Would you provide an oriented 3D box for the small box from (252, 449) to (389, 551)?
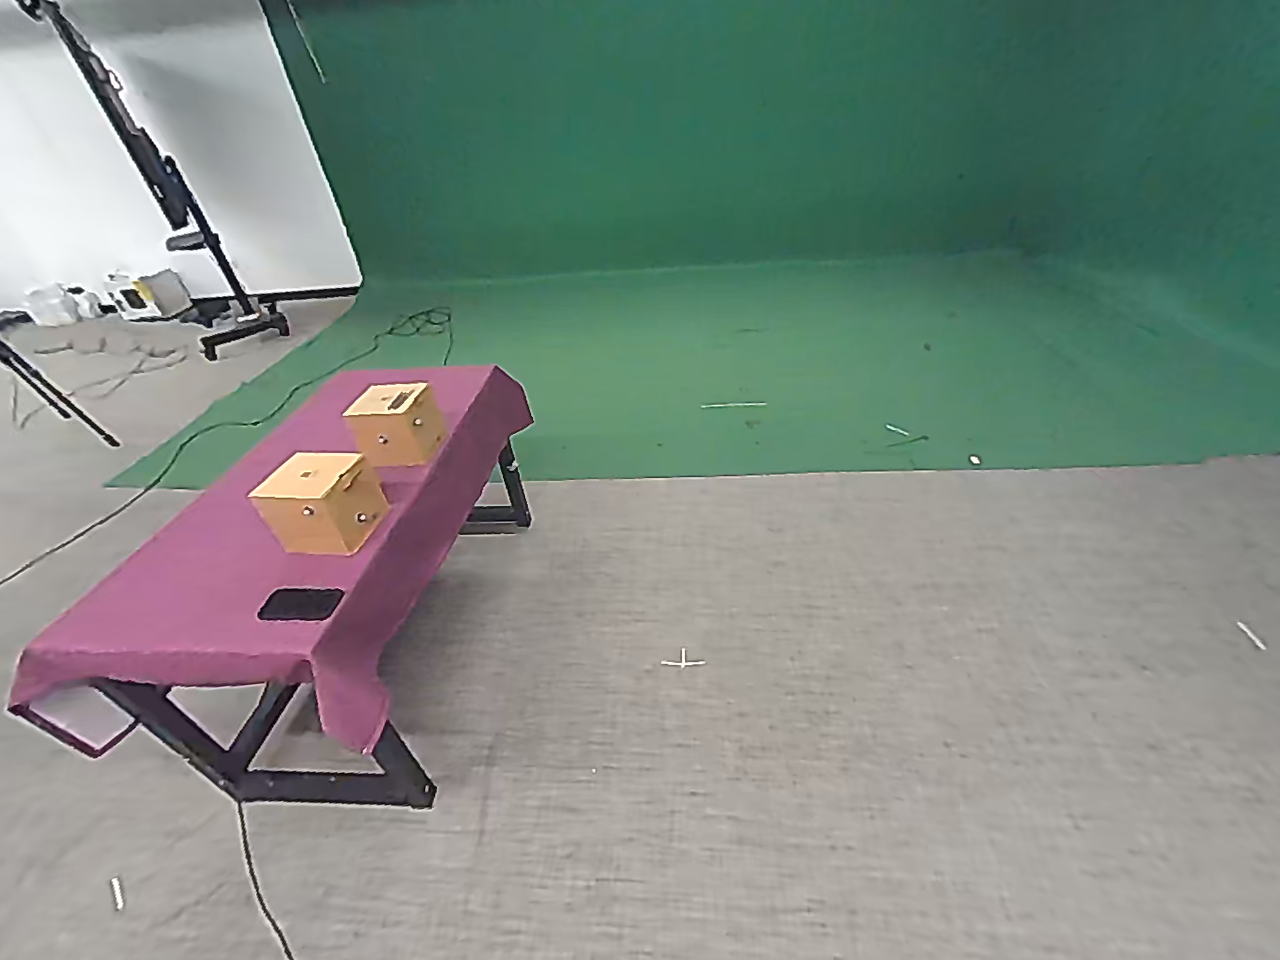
[{"bbox_3d":[-0.711,0.044,1.225,0.179,0.176,0.168,2,38,9],"label":"small box"}]
